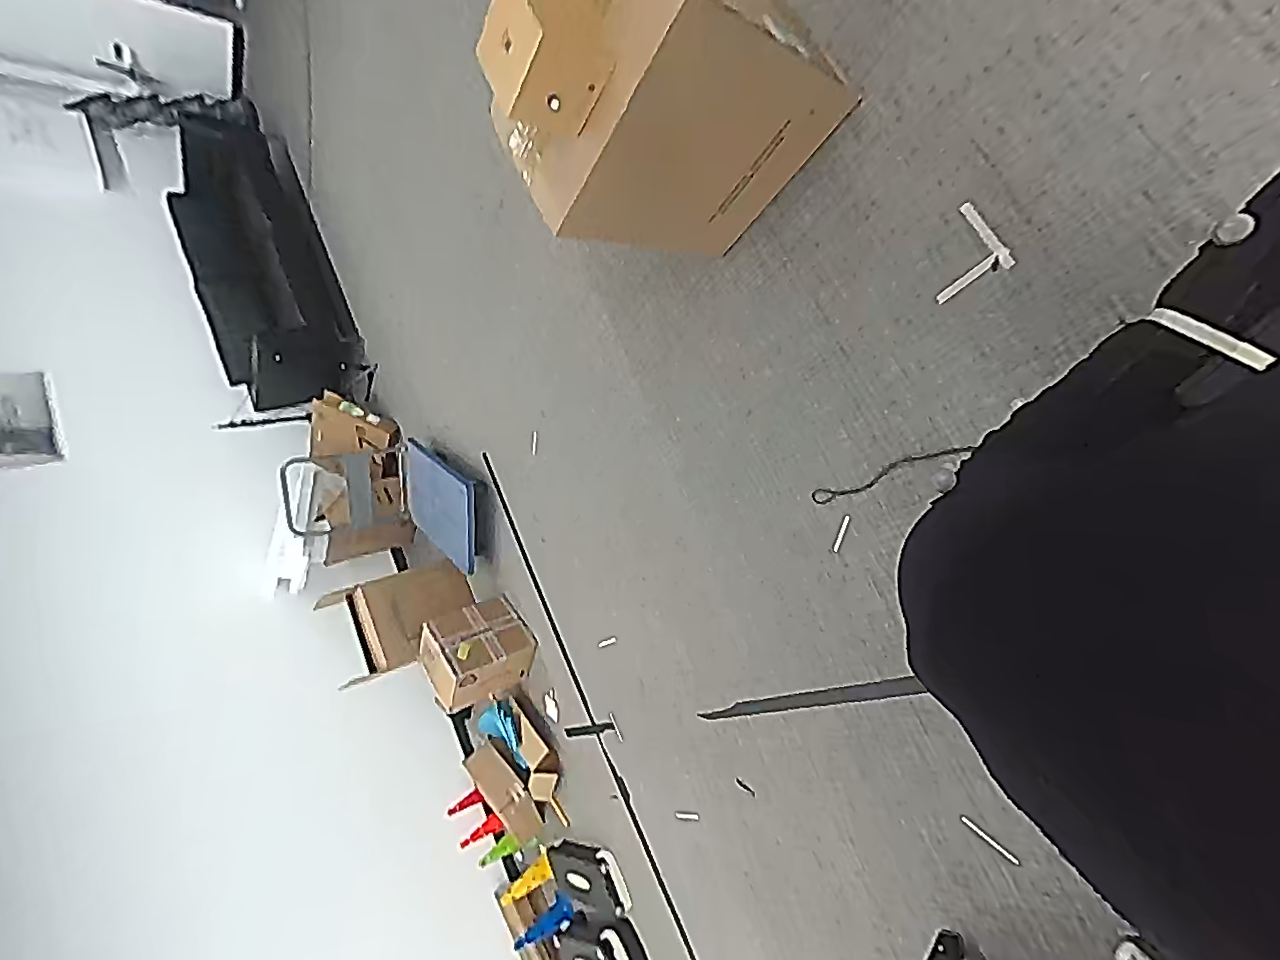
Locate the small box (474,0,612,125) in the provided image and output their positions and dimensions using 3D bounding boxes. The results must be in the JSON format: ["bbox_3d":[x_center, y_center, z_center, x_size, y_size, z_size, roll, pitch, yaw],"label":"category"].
[{"bbox_3d":[-0.179,-0.800,1.005,0.168,0.176,0.179,-37,73,47],"label":"small box"}]
